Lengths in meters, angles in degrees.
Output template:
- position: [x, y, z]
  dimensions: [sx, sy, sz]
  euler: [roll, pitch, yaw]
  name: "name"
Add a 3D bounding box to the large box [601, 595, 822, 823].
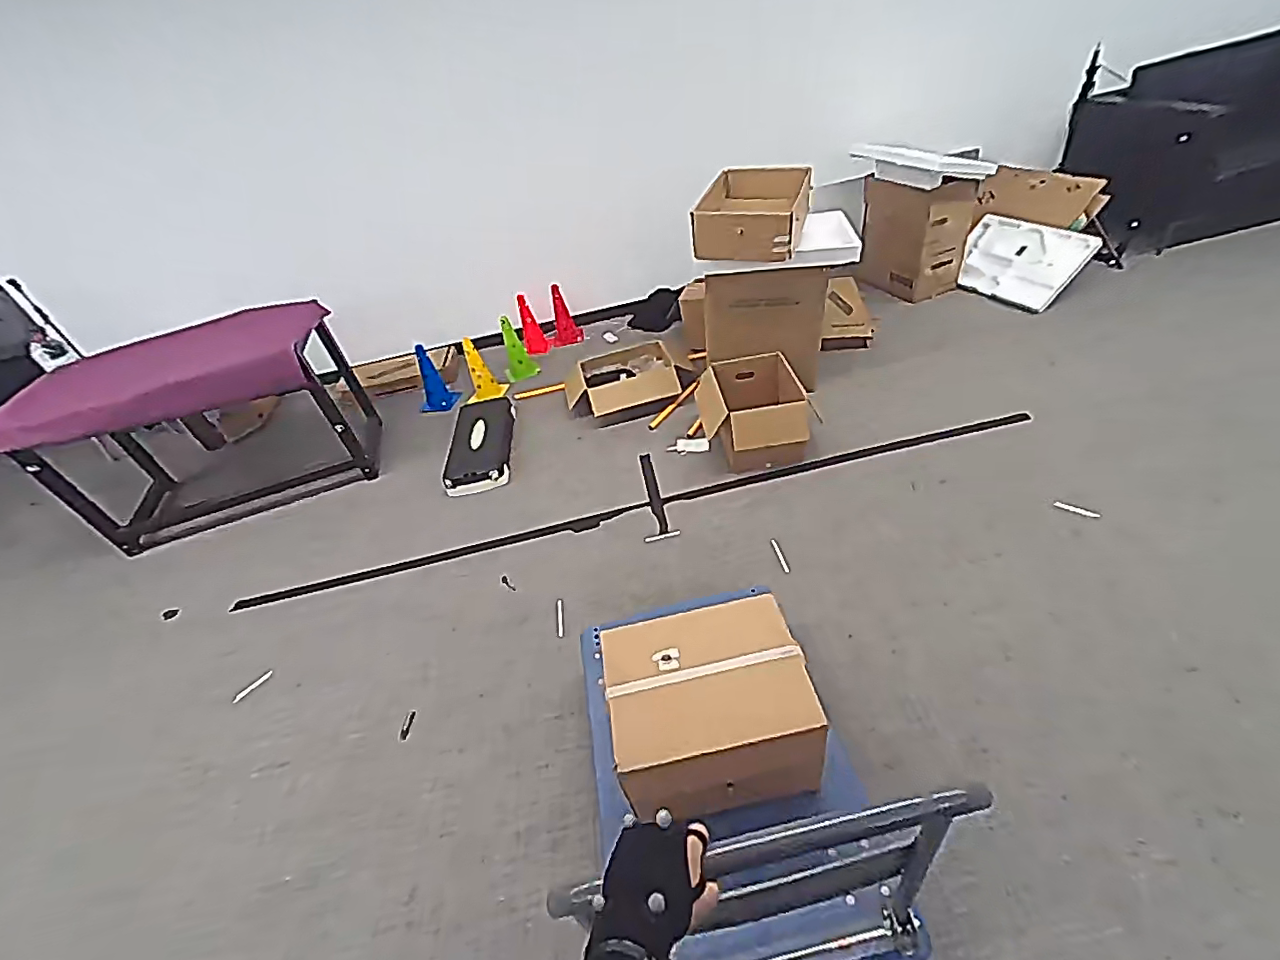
- position: [0.155, 0.515, 1.220]
  dimensions: [0.408, 0.320, 0.320]
  euler: [-14, 39, 0]
  name: "large box"
